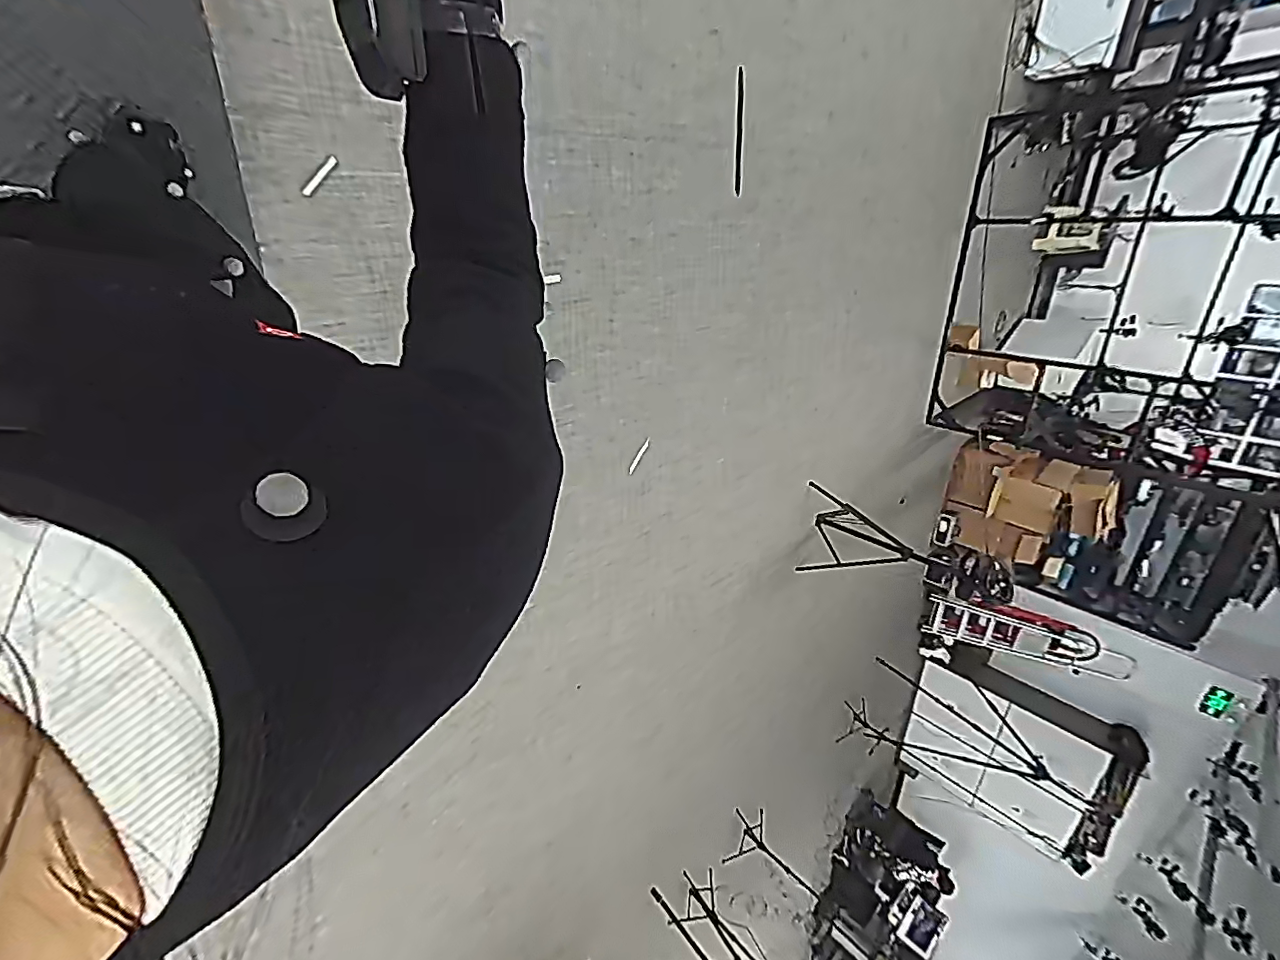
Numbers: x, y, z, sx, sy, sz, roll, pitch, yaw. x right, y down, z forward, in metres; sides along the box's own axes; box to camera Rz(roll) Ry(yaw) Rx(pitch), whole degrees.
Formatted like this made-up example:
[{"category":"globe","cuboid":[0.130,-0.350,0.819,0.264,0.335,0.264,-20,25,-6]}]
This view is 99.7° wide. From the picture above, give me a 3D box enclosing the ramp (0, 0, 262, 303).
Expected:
[{"category":"ramp","cuboid":[-0.936,-0.771,0.774,0.509,0.206,0.991,-23,123,-38]}]
